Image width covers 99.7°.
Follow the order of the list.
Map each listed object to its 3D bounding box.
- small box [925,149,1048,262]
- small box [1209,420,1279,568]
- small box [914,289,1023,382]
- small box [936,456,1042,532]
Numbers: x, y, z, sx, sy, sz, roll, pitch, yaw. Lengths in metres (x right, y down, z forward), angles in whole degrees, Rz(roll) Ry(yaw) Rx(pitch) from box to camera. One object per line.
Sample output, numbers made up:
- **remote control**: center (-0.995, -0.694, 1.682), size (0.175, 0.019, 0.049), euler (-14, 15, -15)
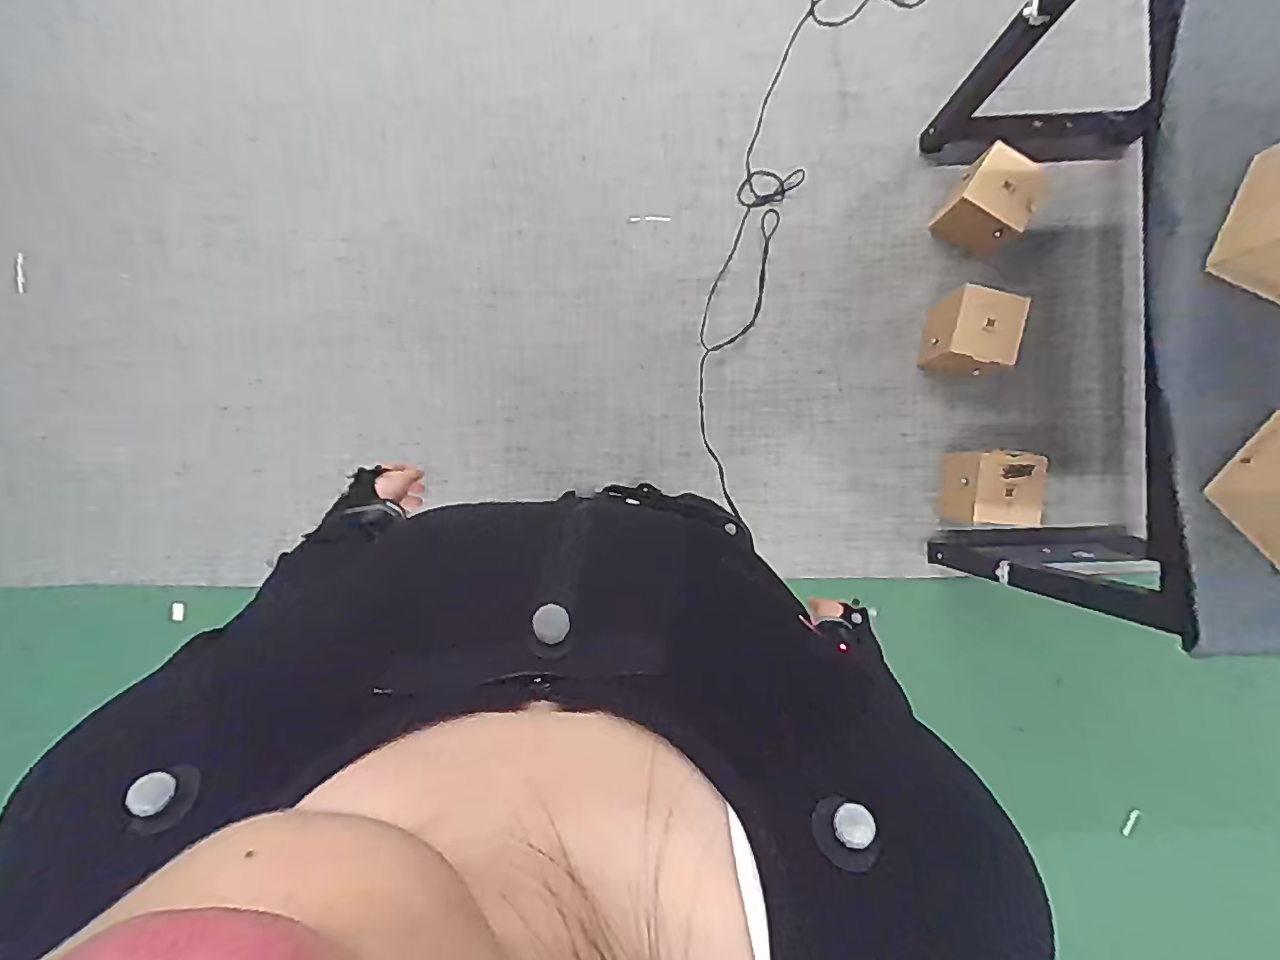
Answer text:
- **small box**: center (0.890, -0.702, 1.408), size (0.179, 0.176, 0.168), euler (32, 89, 0)
- **small box**: center (0.889, 0.016, 0.667), size (0.168, 0.176, 0.179), euler (-45, 90, -3)
- **small box**: center (0.843, -0.366, 1.404), size (0.168, 0.176, 0.179), euler (13, 88, -1)
- **small box**: center (0.894, 0.034, 1.399), size (0.168, 0.176, 0.179), euler (4, 91, 1)
